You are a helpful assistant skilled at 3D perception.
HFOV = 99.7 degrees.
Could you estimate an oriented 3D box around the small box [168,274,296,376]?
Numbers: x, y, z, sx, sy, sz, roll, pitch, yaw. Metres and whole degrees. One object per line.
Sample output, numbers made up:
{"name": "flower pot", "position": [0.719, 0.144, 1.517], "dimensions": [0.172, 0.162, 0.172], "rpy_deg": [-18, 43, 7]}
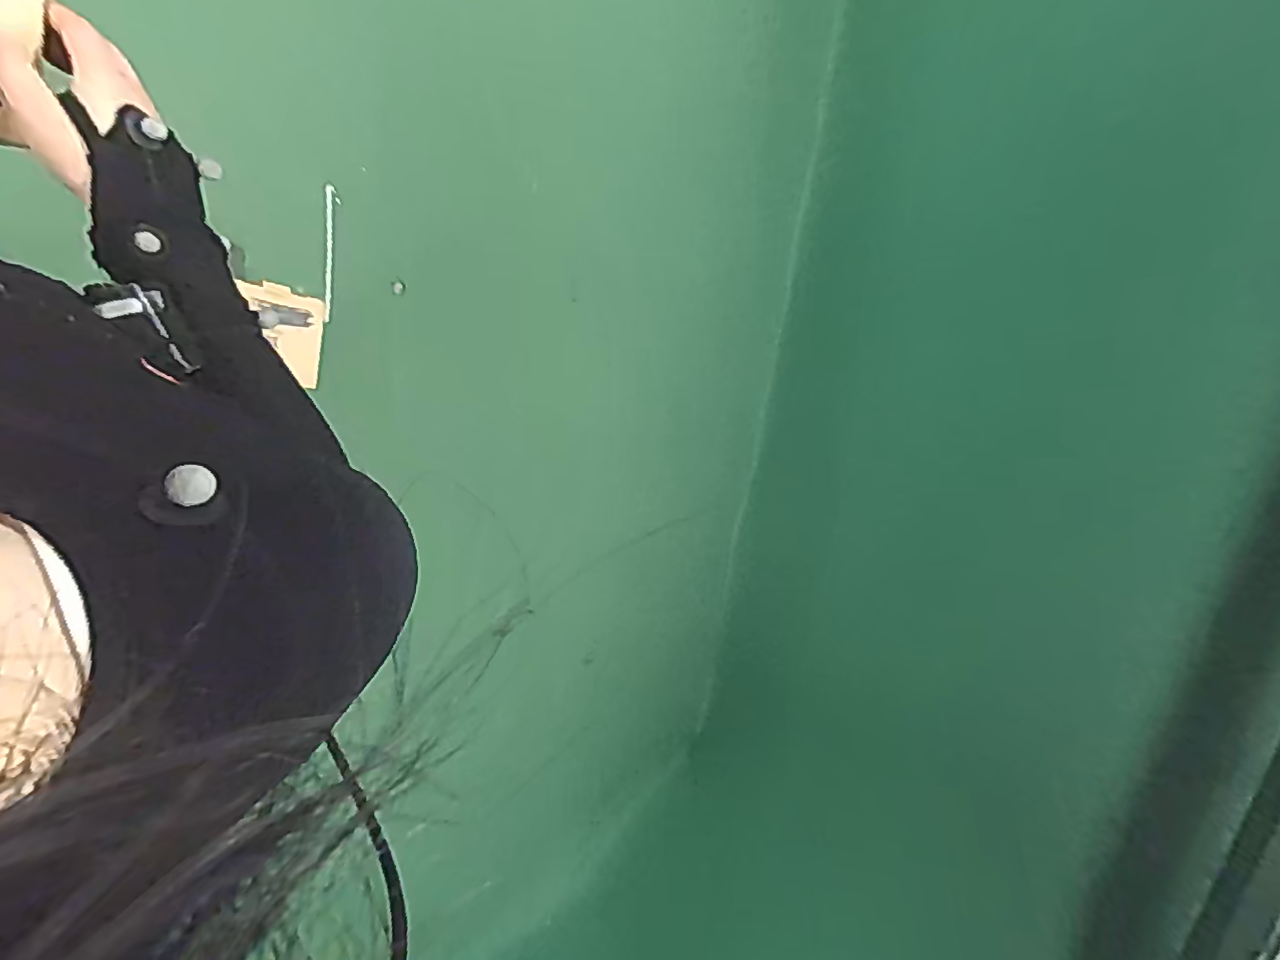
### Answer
{"name": "small box", "position": [-0.869, -0.327, 1.147], "dimensions": [0.179, 0.176, 0.168], "rpy_deg": [4, 102, -53]}

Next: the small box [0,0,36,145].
{"name": "small box", "position": [-0.484, -0.324, 0.307], "dimensions": [0.168, 0.176, 0.179], "rpy_deg": [-4, 114, -57]}
